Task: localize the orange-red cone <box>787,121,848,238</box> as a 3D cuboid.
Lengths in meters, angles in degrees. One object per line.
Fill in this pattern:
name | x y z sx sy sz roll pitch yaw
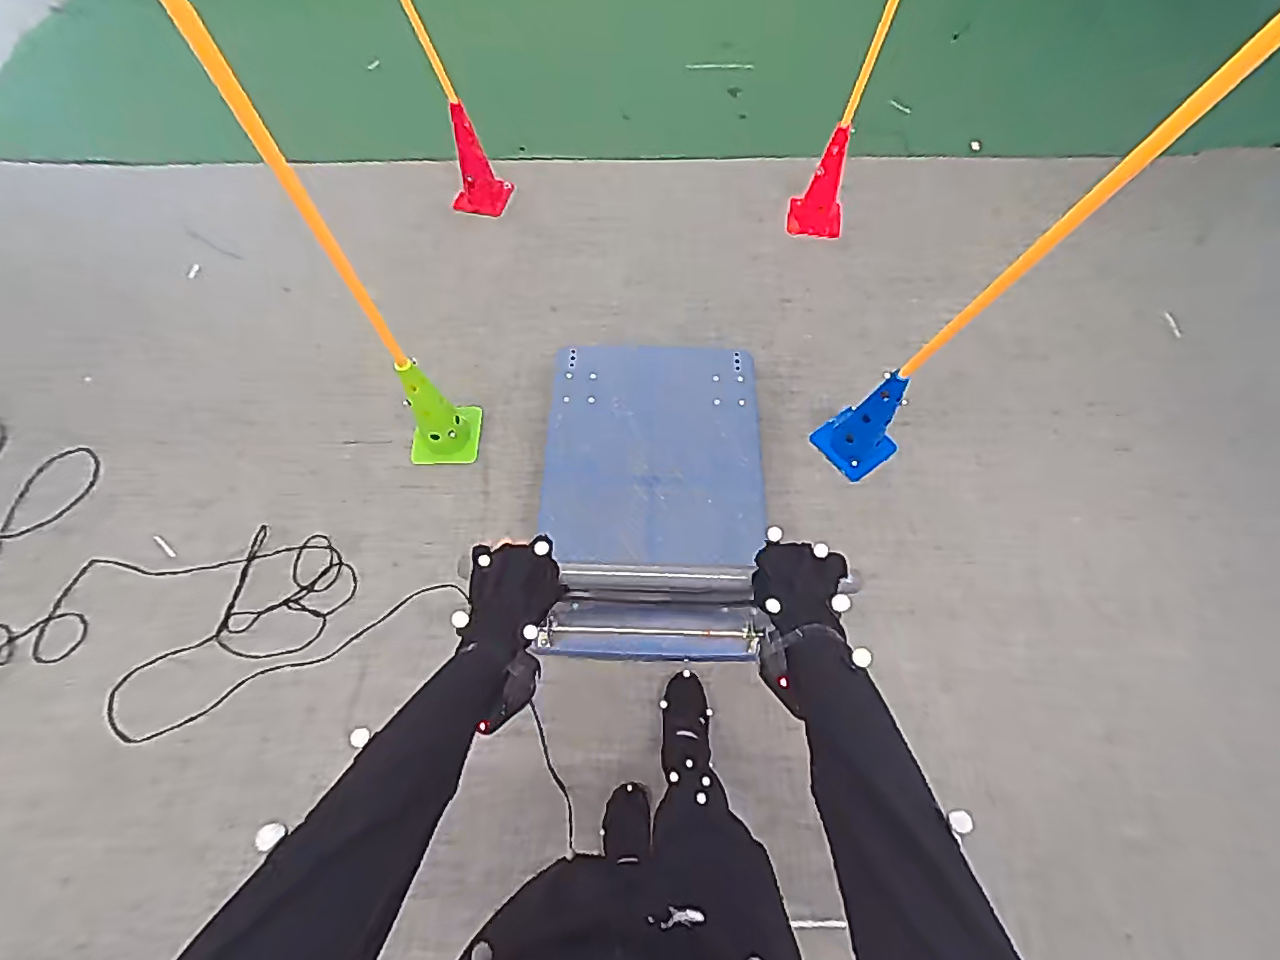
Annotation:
orange-red cone | 0.659 -1.071 1.903 0.198 0.360 0.199 10 66 6
